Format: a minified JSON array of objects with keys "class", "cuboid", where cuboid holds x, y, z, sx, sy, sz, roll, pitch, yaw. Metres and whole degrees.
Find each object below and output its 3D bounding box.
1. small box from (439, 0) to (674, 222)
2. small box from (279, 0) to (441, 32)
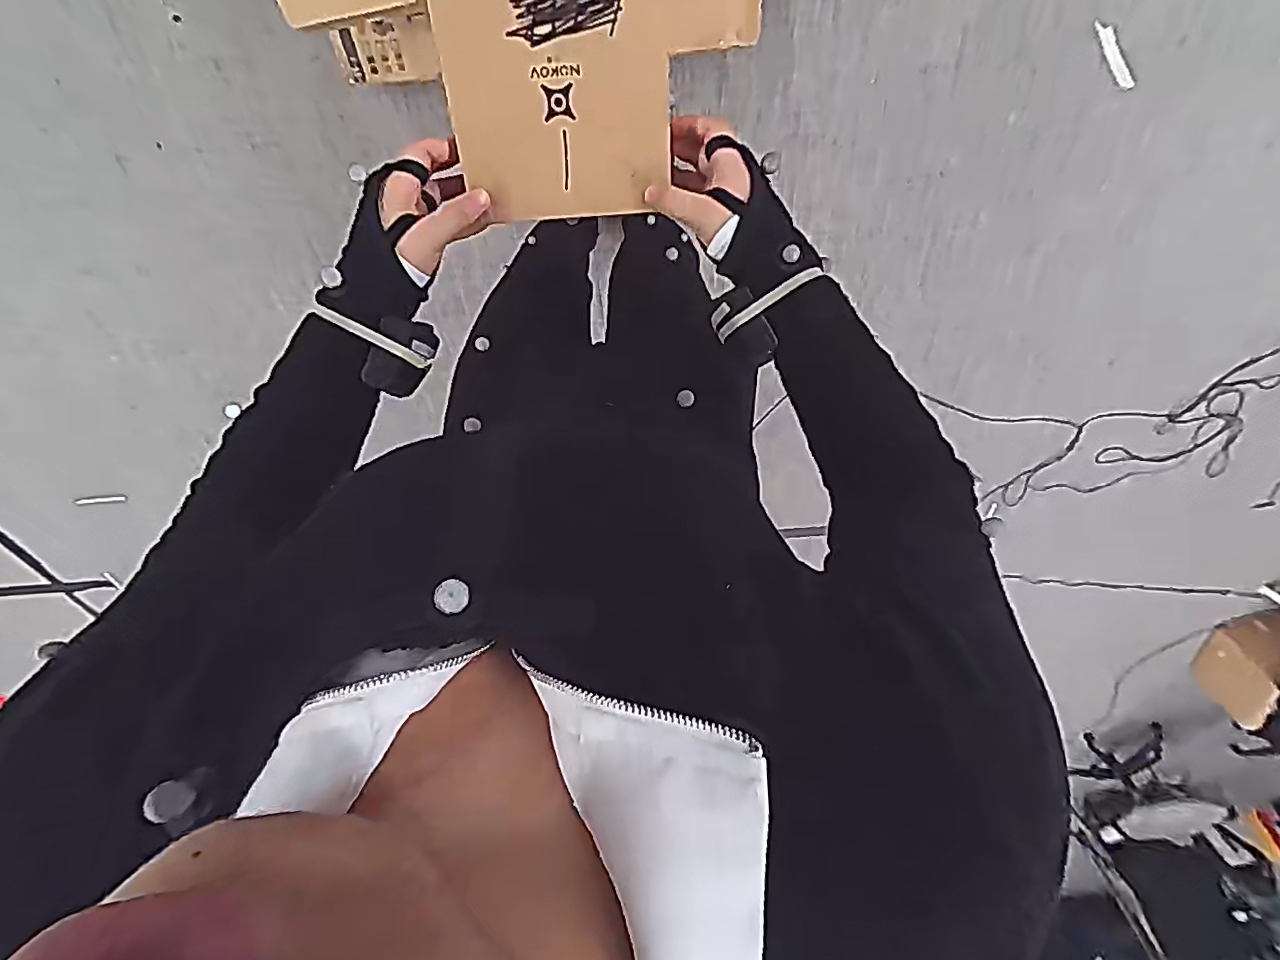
[{"class":"small box","cuboid":[-0.063,-0.332,0.469,0.168,0.176,0.179,-4,123,-2]},{"class":"small box","cuboid":[-0.365,-0.680,0.668,0.168,0.176,0.179,-9,131,4]}]
